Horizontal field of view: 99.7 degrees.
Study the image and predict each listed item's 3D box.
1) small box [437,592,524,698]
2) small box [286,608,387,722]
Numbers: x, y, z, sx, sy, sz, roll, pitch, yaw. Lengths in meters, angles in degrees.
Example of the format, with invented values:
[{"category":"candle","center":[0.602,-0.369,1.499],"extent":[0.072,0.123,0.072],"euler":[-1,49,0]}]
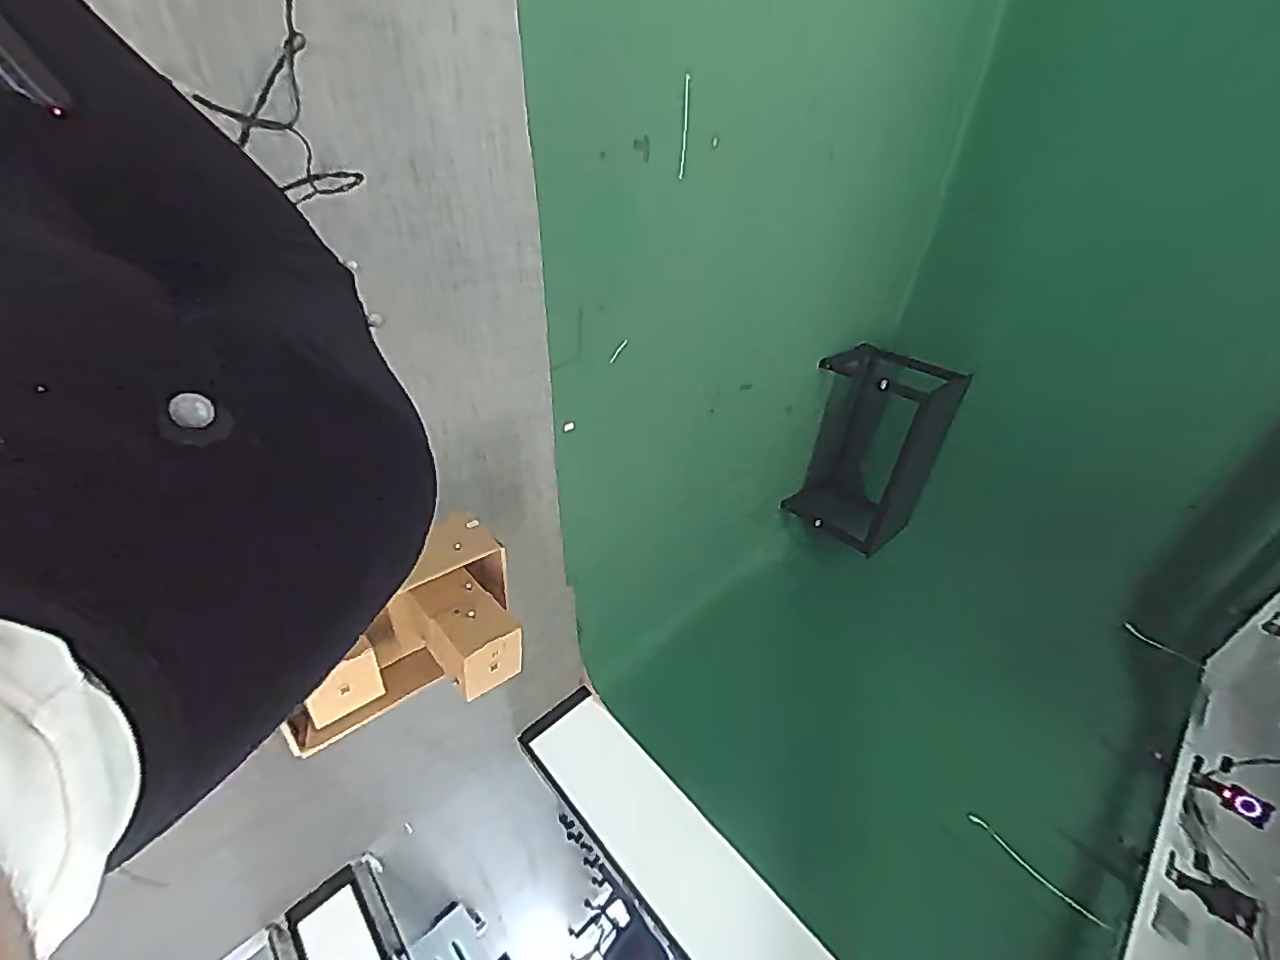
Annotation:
[{"category":"small box","center":[-0.426,0.434,1.448],"extent":[0.168,0.176,0.179],"euler":[-22,132,-38]},{"category":"small box","center":[-0.765,0.462,1.369],"extent":[0.168,0.176,0.179],"euler":[-23,132,-36]}]
